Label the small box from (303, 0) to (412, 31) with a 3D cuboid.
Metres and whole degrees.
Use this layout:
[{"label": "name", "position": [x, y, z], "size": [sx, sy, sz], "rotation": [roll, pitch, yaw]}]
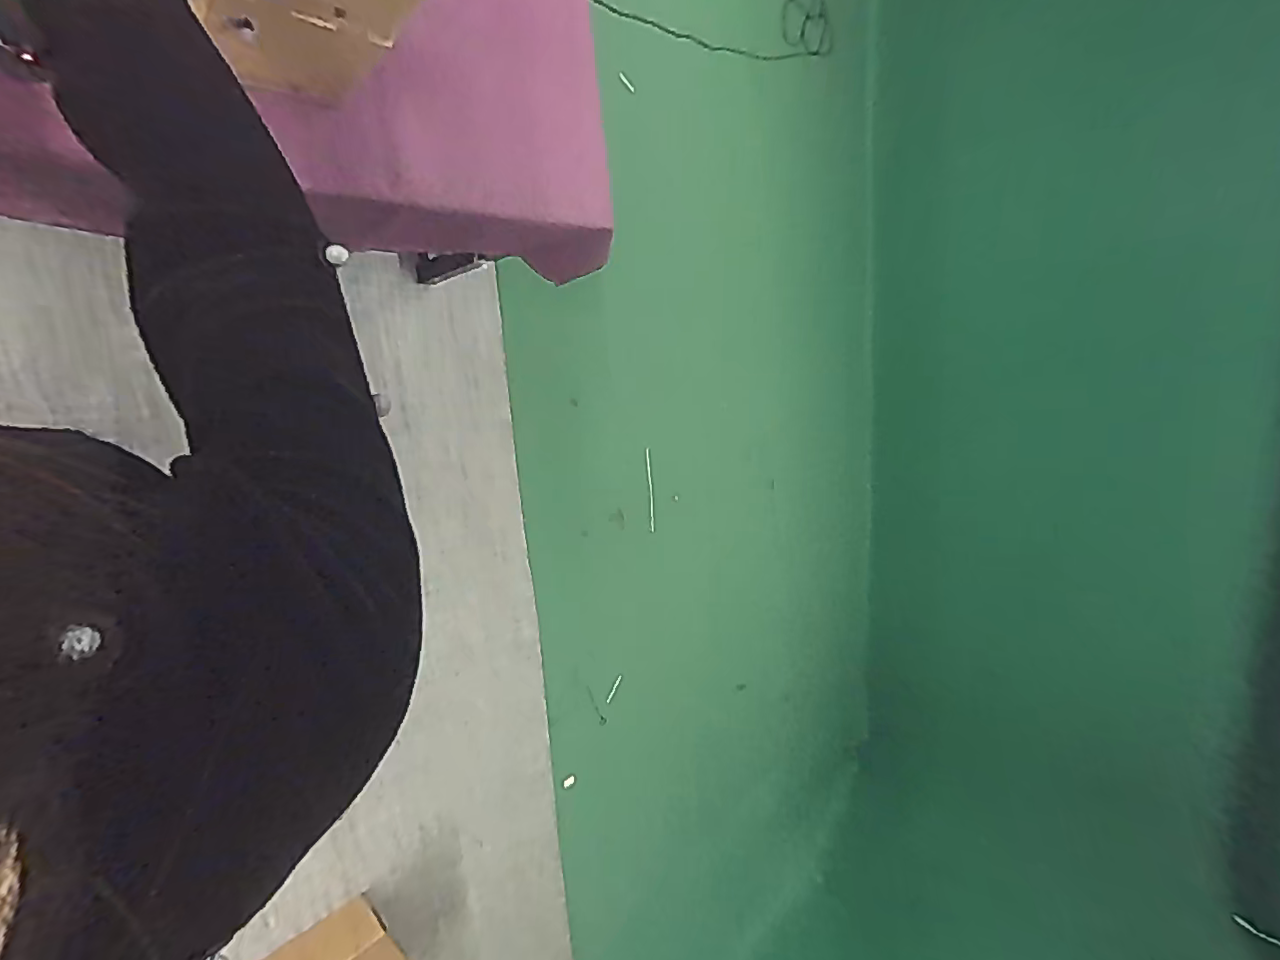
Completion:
[{"label": "small box", "position": [-0.284, -0.552, 0.475], "size": [0.168, 0.176, 0.179], "rotation": [-20, 106, -44]}]
